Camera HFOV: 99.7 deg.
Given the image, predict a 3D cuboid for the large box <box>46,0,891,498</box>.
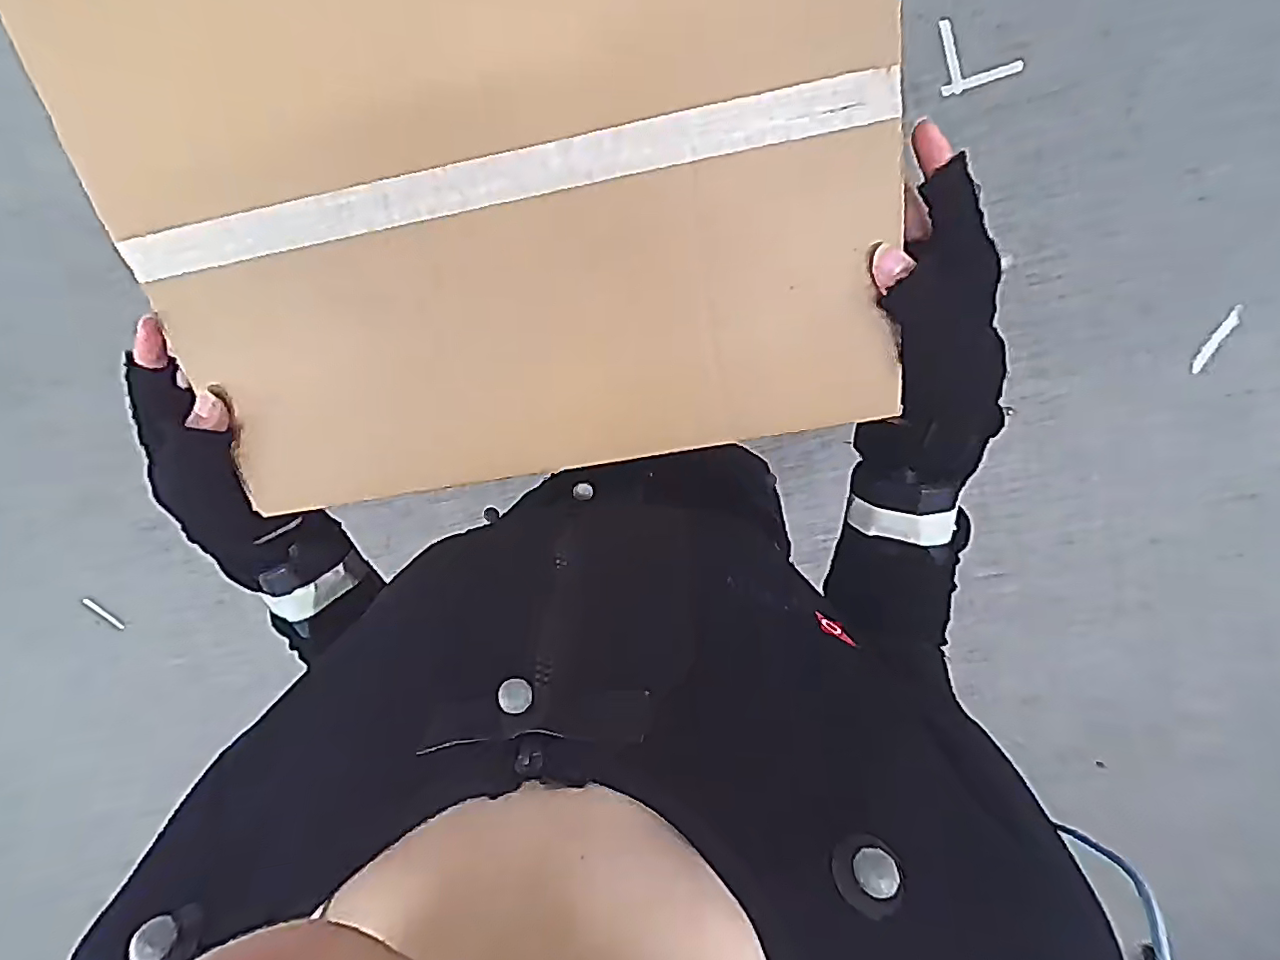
[{"bbox_3d":[-0.070,-0.213,0.424,0.408,0.320,0.320,-9,113,6],"label":"large box"}]
